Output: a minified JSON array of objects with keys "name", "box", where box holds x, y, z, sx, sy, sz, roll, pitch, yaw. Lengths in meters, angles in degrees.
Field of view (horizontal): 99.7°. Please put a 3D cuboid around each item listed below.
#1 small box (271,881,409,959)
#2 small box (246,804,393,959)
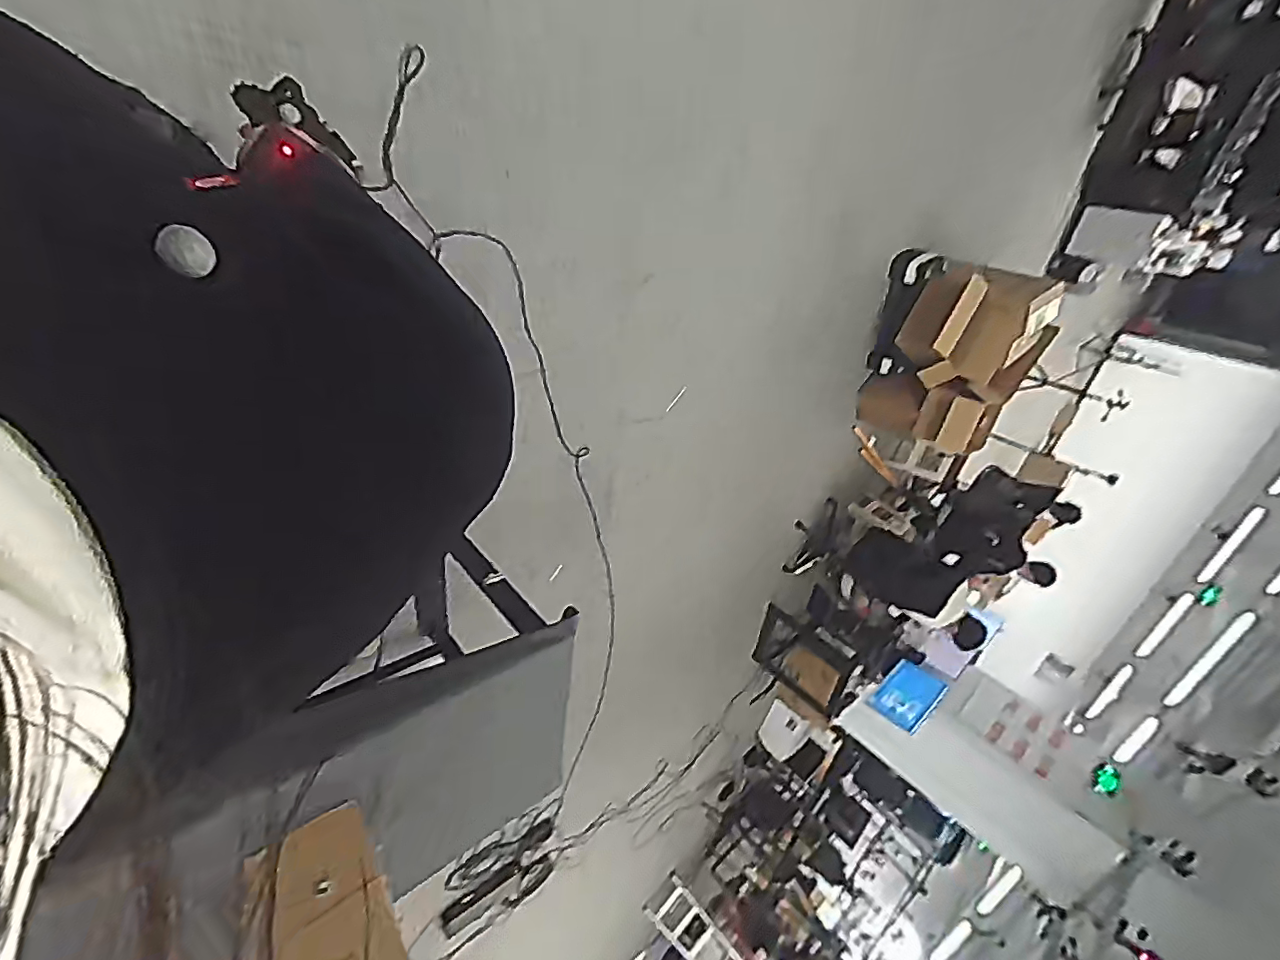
[{"name":"small box","box":[-0.462,0.795,0.850,0.179,0.176,0.168,-22,130,-35]},{"name":"small box","box":[-0.564,0.726,0.958,0.179,0.176,0.168,-18,128,-37]}]
